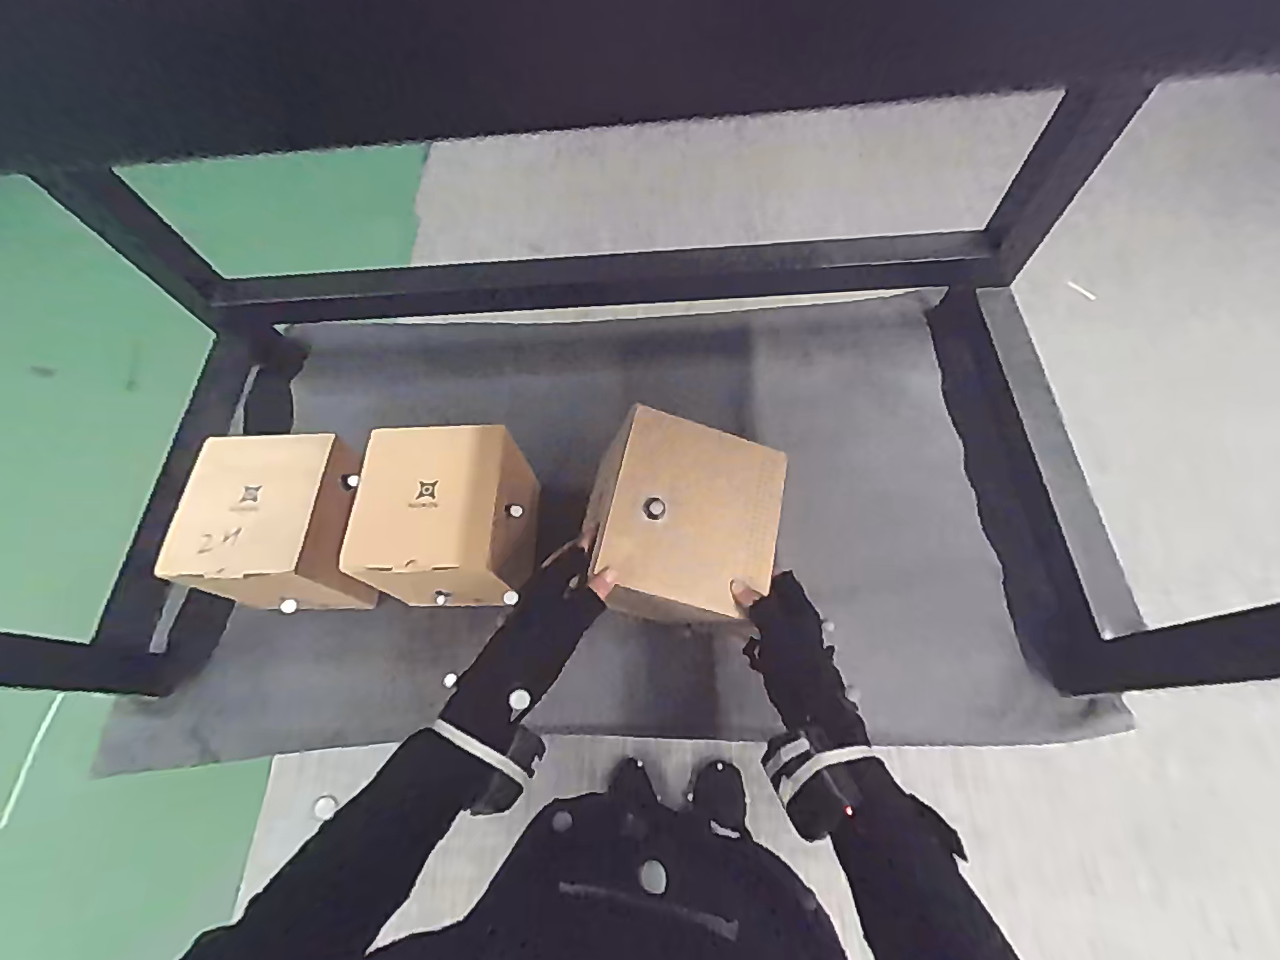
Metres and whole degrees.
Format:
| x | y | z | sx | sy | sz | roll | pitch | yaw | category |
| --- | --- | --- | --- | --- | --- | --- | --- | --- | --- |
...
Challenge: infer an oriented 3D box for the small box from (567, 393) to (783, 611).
| x | y | z | sx | sy | sz | roll | pitch | yaw | category |
| --- | --- | --- | --- | --- | --- | --- | --- | --- | --- |
| 0.034 | 0.038 | 0.574 | 0.176 | 0.168 | 0.179 | 17 | 71 | -11 | small box |
